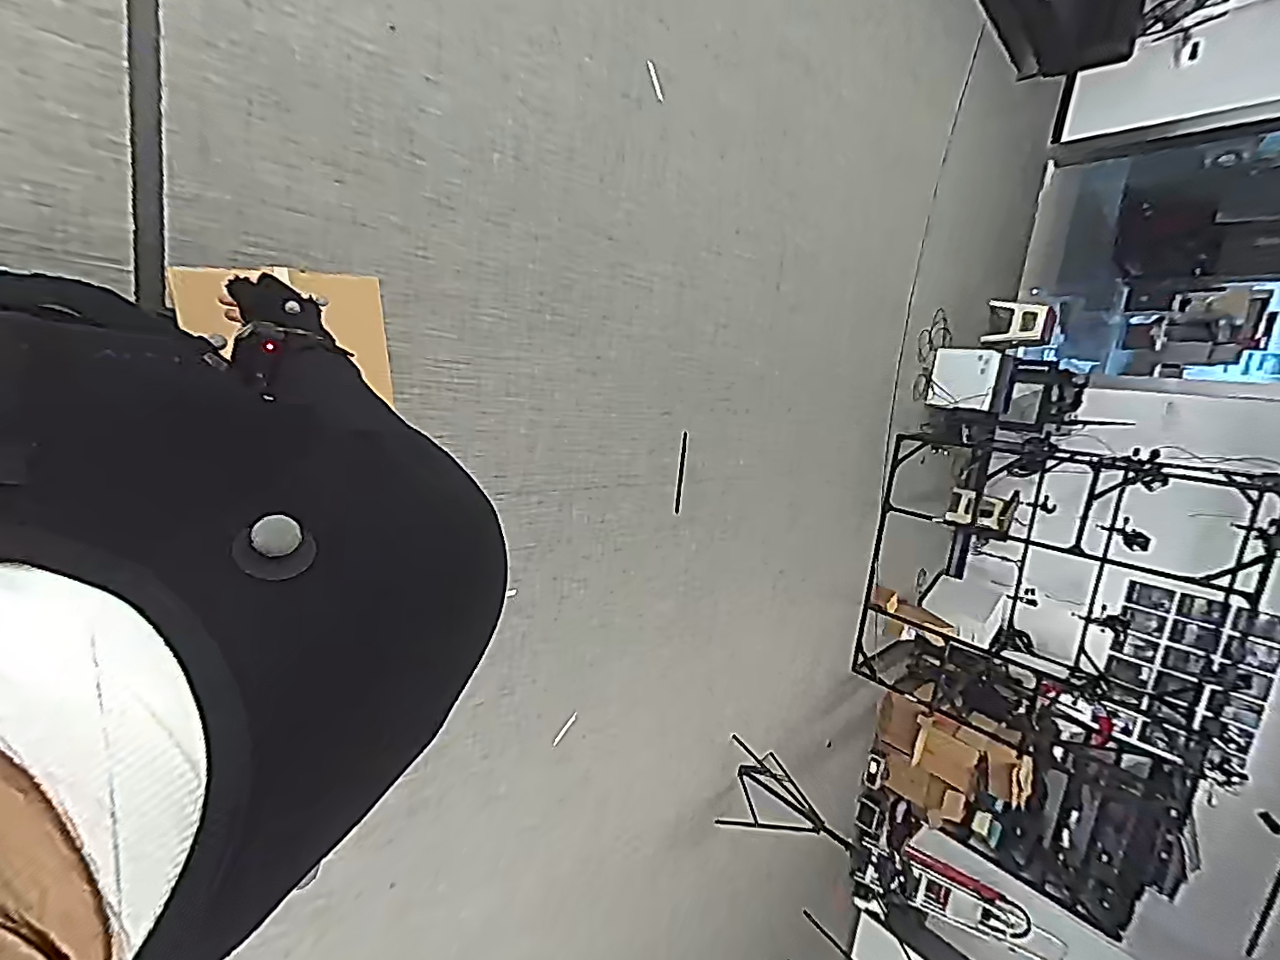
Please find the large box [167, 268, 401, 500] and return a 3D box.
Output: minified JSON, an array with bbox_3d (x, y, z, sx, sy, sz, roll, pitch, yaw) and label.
[{"bbox_3d":[-0.717,-0.212,1.114,0.320,0.320,0.408,-11,110,-34],"label":"large box"}]
